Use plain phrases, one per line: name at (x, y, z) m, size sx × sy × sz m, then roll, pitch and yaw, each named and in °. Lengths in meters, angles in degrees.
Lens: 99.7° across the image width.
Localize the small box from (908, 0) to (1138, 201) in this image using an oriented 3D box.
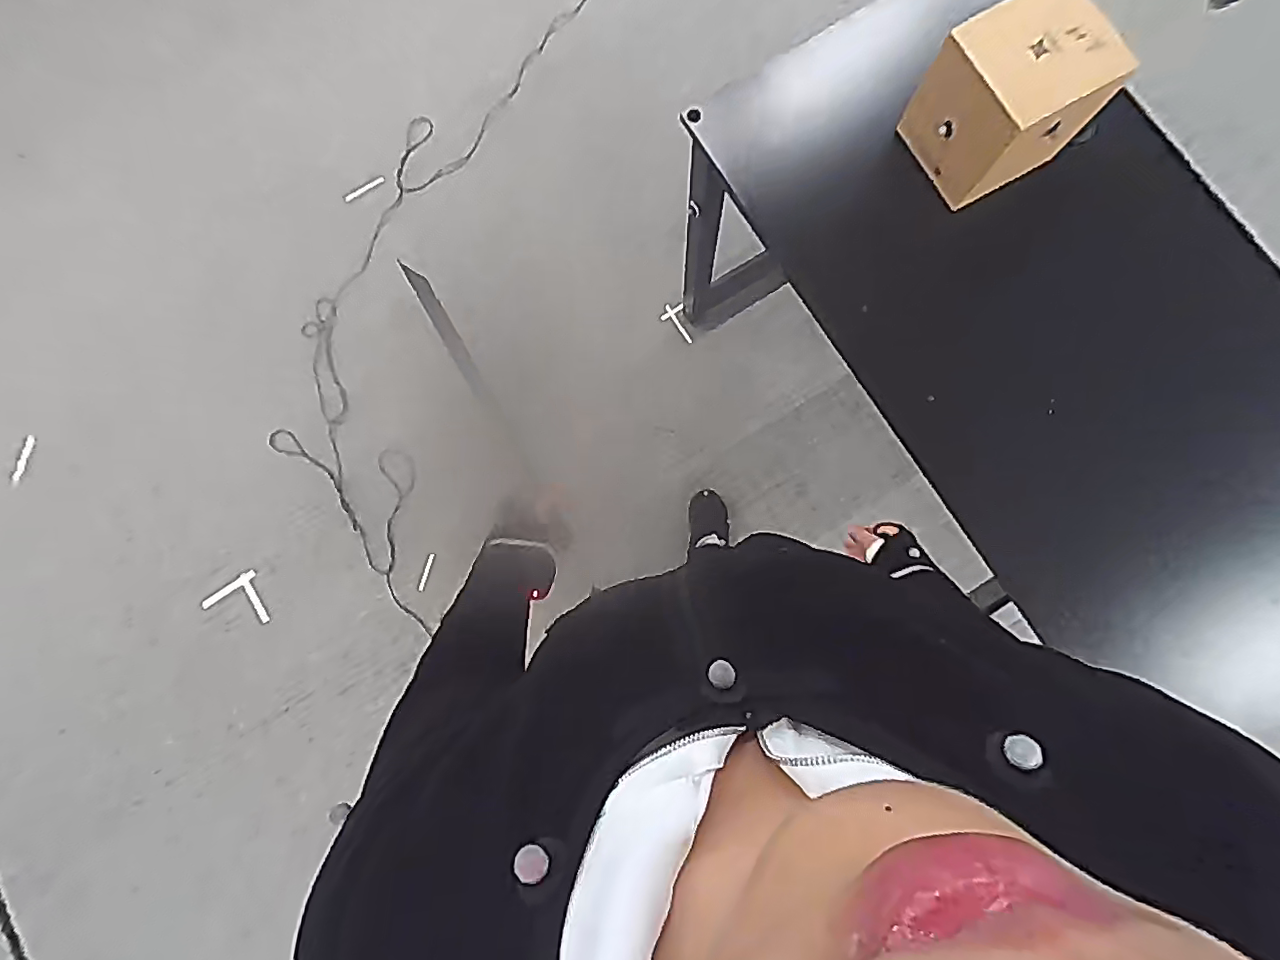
small box at (0.510, -0.537, 0.759) m, size 0.179 × 0.176 × 0.168 m, roll -29°, pitch 82°, yaw -1°
